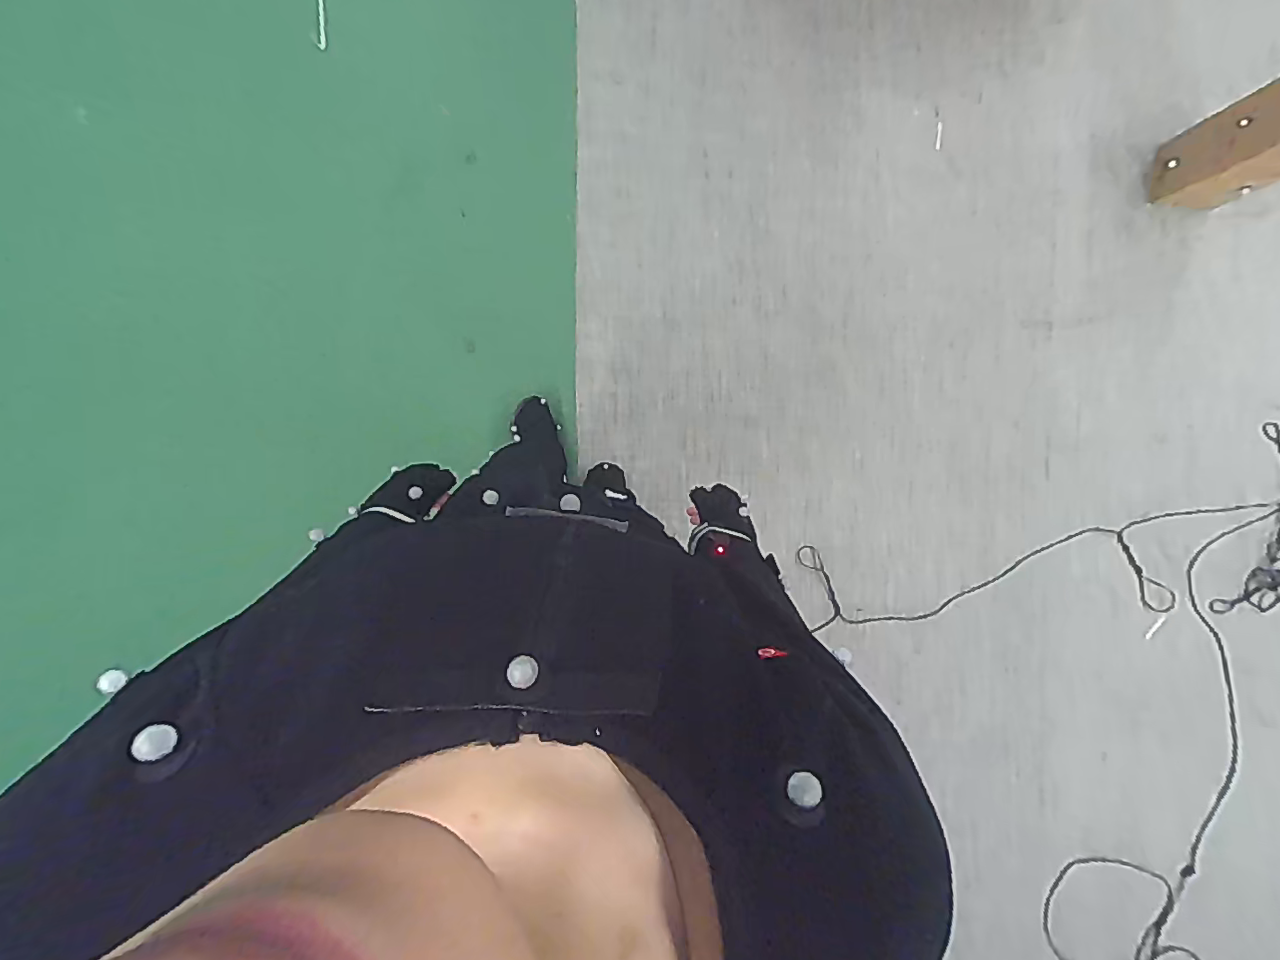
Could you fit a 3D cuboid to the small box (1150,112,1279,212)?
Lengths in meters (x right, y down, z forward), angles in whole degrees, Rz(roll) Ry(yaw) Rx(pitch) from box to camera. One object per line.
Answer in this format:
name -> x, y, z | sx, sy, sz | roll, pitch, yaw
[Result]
small box -> 1.537, -0.839, 1.445 | 0.179, 0.176, 0.168 | 5, 92, -2
